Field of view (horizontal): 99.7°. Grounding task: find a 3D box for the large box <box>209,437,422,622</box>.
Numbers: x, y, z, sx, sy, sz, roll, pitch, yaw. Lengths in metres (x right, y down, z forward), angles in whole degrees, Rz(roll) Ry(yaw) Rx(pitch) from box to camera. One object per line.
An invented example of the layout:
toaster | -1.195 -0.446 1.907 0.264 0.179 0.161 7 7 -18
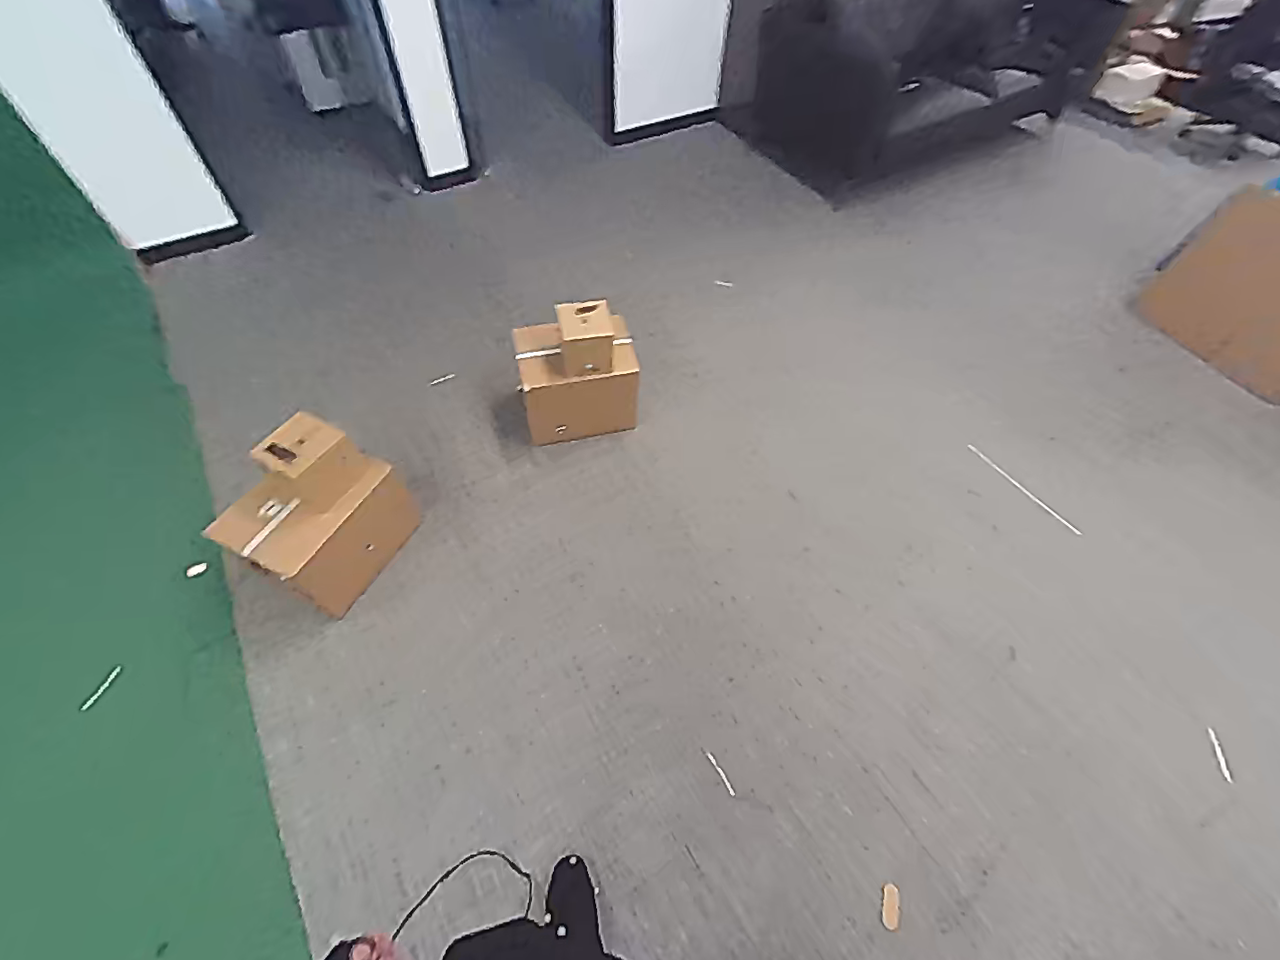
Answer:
large box | -0.946 0.149 1.644 0.320 0.320 0.408 21 58 13

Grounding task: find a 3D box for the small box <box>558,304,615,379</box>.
small box | -0.179 -0.461 1.807 0.168 0.176 0.179 -8 58 -9
